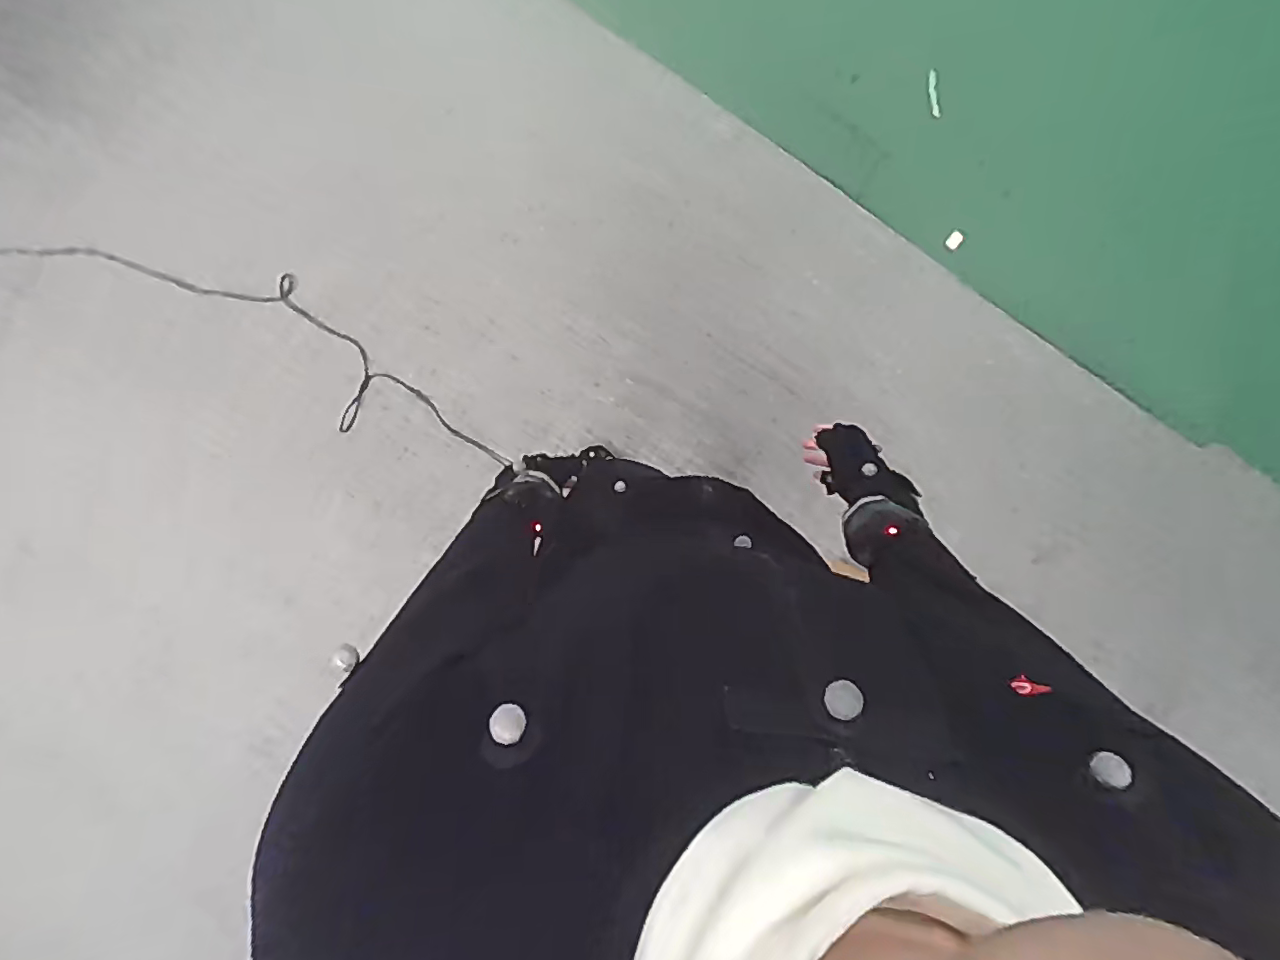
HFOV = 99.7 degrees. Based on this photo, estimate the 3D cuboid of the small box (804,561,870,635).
[{"bbox_3d":[0.547,0.332,1.384,0.168,0.176,0.179,38,89,-4],"label":"small box"}]
